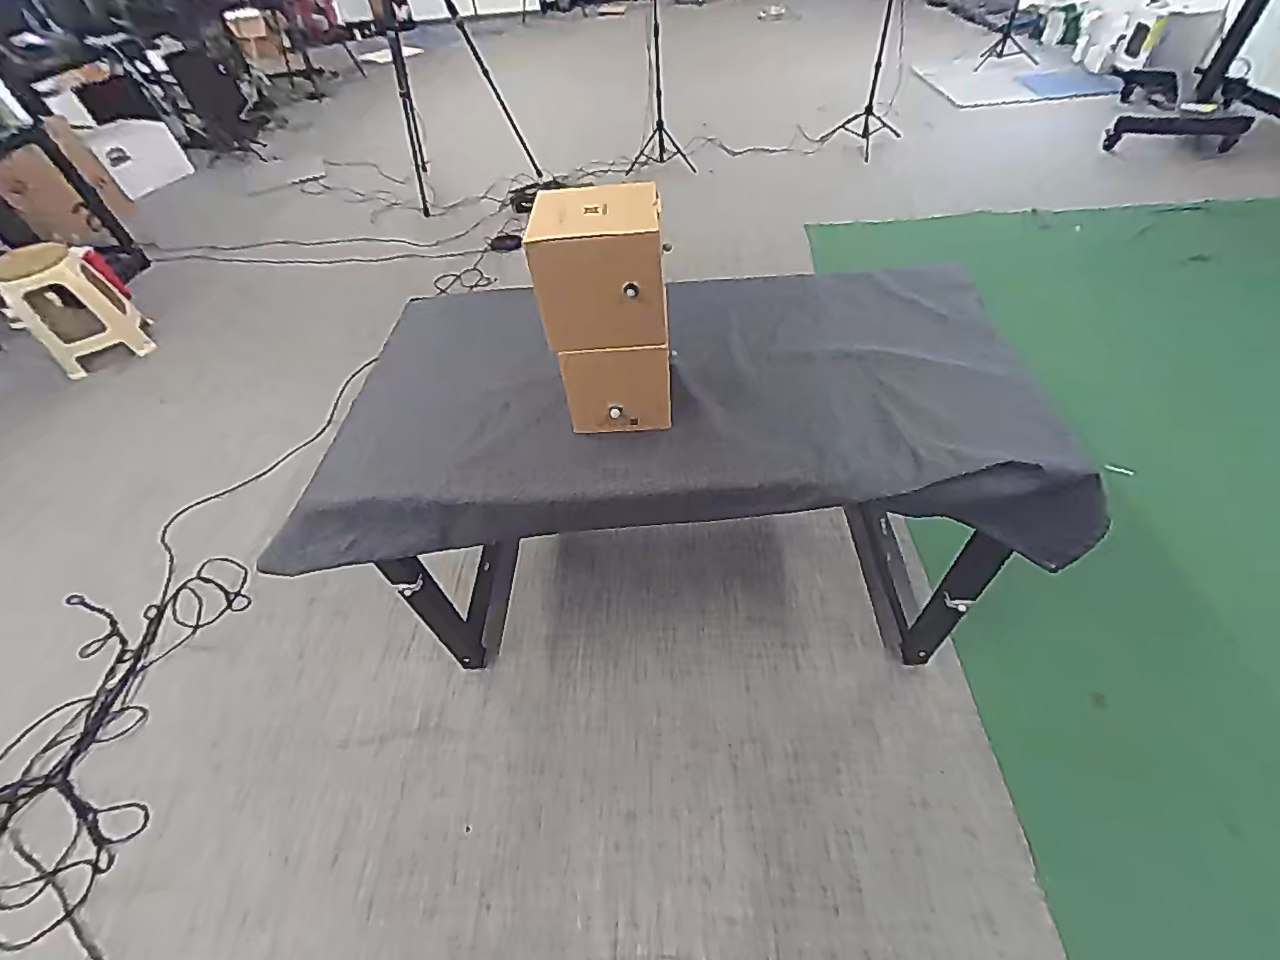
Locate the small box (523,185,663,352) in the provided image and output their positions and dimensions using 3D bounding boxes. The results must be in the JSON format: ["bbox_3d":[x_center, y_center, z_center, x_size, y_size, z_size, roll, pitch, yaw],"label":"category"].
[{"bbox_3d":[-0.056,-0.305,0.790,0.179,0.176,0.168,-4,48,4],"label":"small box"}]

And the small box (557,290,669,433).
[{"bbox_3d":[-0.037,-0.200,0.913,0.168,0.176,0.179,-3,50,4],"label":"small box"}]
